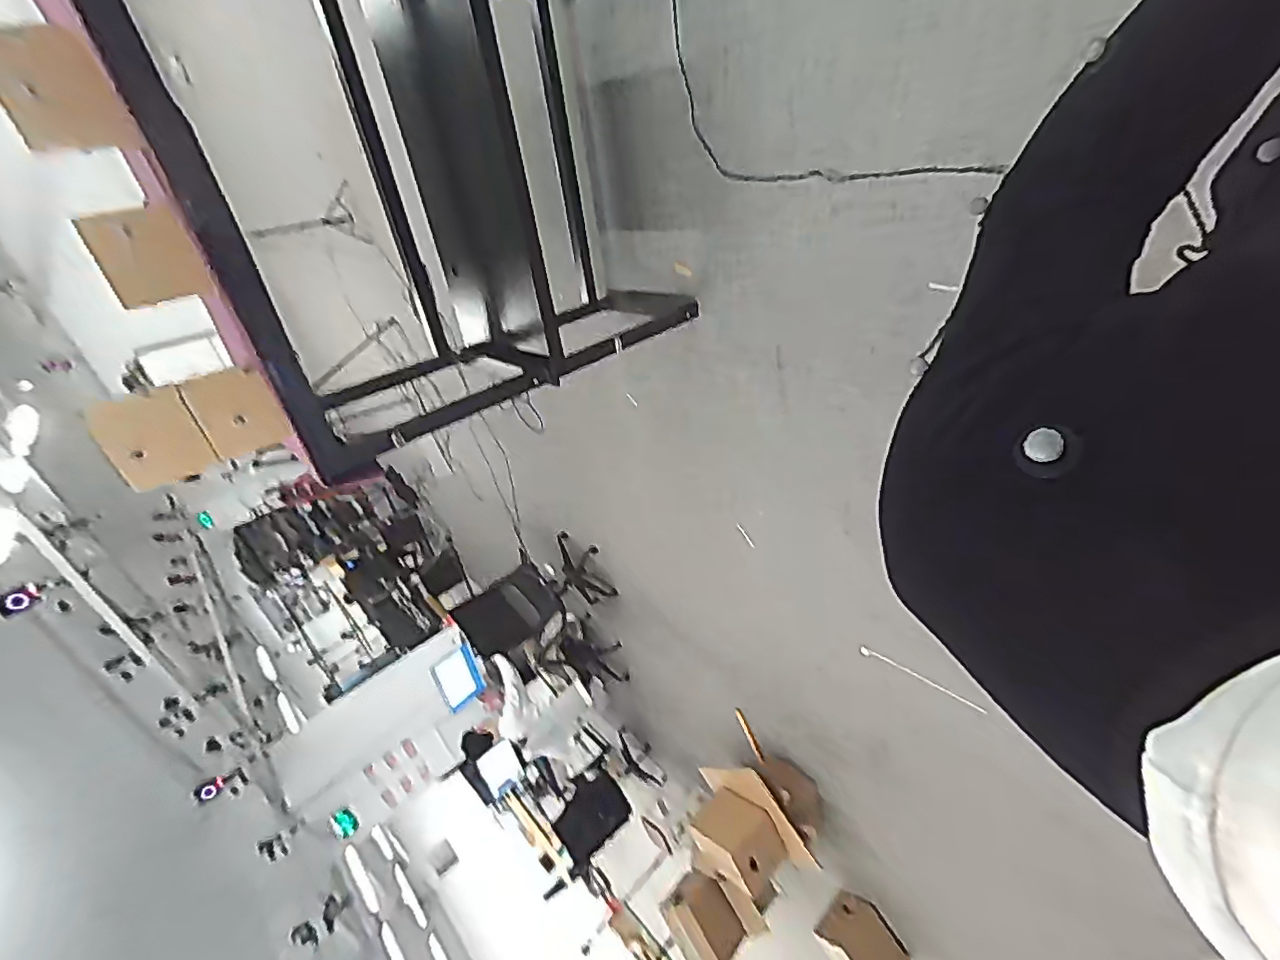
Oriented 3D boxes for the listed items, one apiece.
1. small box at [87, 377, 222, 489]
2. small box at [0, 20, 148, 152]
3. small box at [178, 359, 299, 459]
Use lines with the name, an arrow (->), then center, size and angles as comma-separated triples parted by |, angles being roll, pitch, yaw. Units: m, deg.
small box -> -1.088, -0.111, 1.221 | 0.168, 0.176, 0.179 | 24, 134, 42
small box -> -1.046, -0.712, 0.983 | 0.168, 0.176, 0.179 | 25, 134, 39
small box -> -0.966, -0.180, 1.307 | 0.168, 0.176, 0.179 | 23, 134, 44
